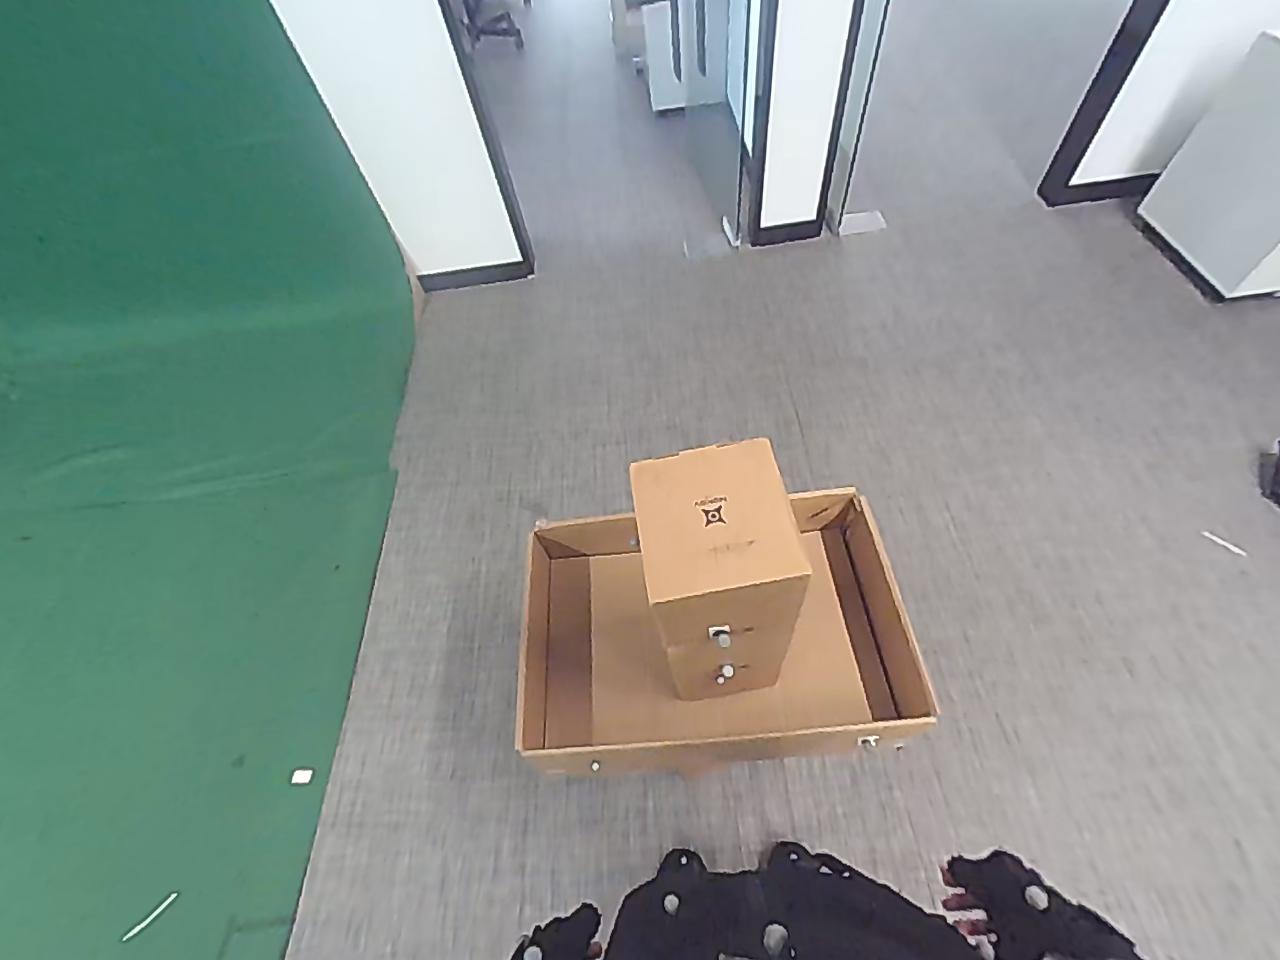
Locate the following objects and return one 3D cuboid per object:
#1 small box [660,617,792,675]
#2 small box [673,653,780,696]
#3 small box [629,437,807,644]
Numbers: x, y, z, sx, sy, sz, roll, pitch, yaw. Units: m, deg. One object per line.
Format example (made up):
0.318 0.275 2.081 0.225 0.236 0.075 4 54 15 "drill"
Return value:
0.108 0.165 0.785 0.168 0.176 0.179 -11 57 2 "small box"
0.132 0.250 0.923 0.168 0.176 0.179 -12 55 3 "small box"
0.087 0.078 0.651 0.168 0.176 0.179 -12 57 3 "small box"
